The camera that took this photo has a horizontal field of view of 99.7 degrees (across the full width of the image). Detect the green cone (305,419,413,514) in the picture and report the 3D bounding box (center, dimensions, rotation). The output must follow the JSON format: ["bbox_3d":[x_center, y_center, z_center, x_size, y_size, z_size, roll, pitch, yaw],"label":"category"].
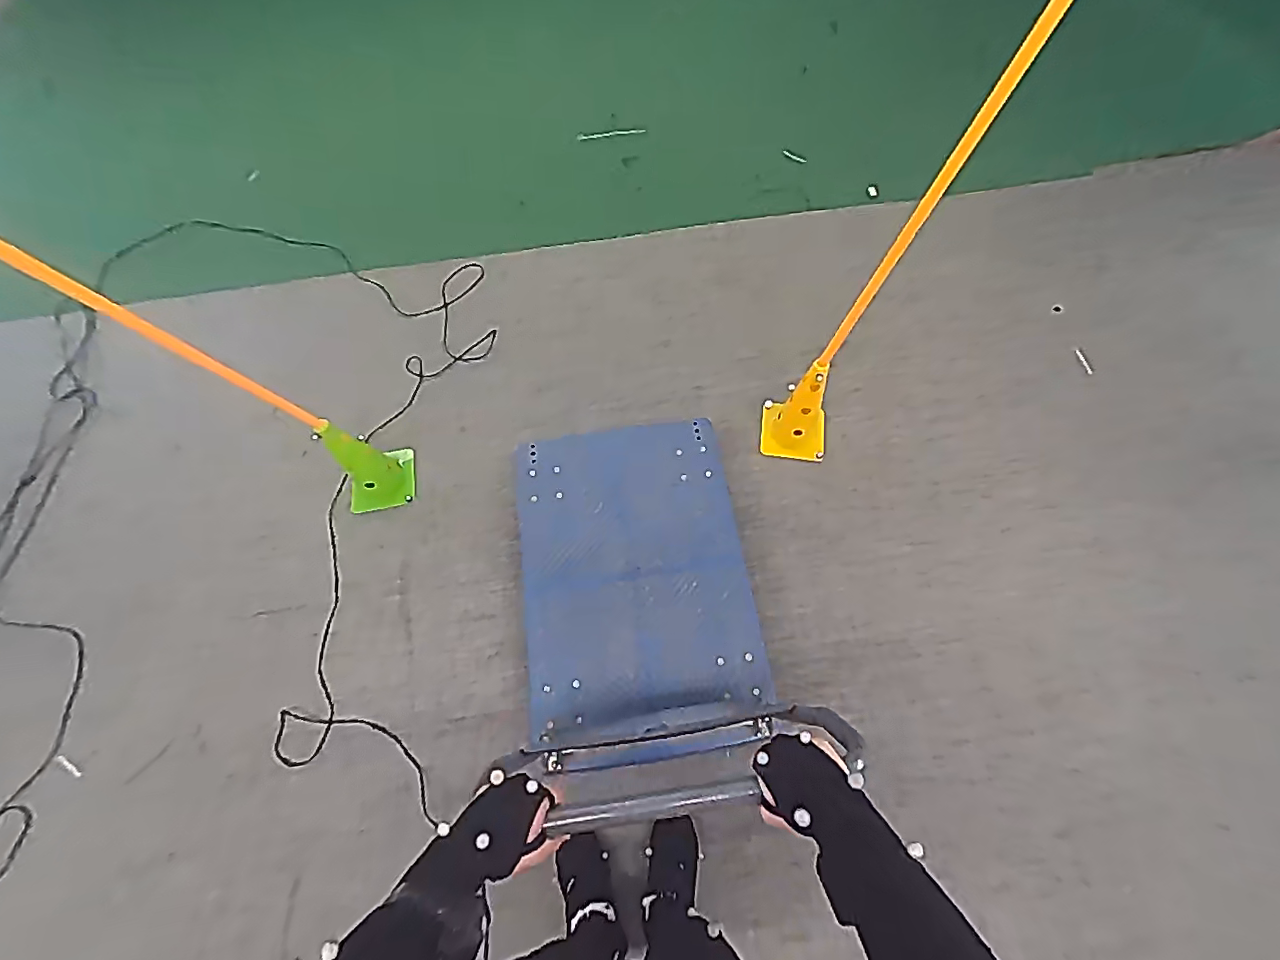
[{"bbox_3d":[-0.839,-0.072,1.572,0.202,0.368,0.200,-12,65,-1],"label":"green cone"}]
